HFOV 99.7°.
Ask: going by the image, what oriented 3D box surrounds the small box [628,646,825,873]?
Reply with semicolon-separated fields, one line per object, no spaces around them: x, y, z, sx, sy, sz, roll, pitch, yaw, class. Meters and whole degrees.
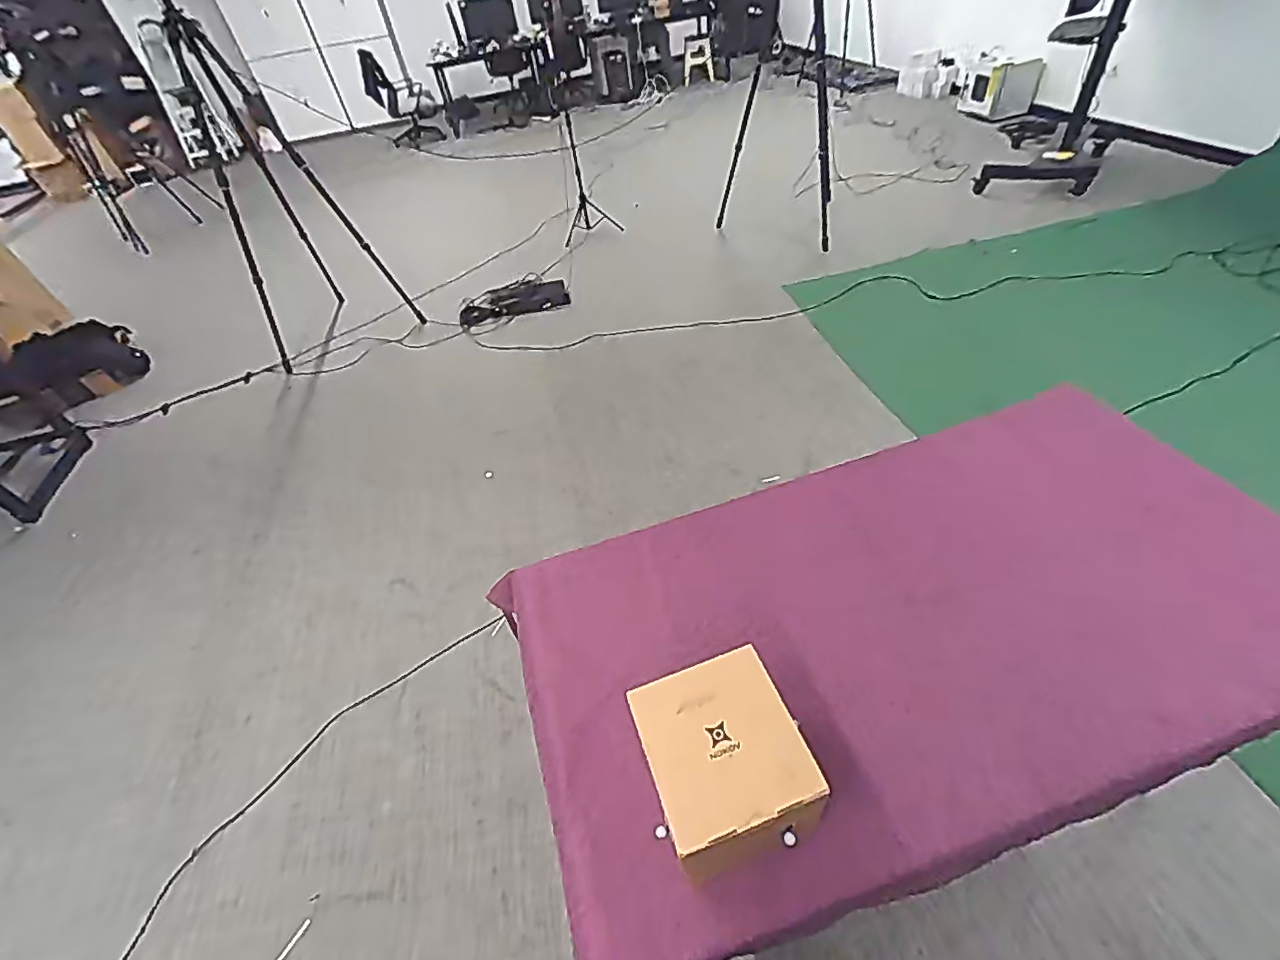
0.097;0.338;0.646;0.168;0.176;0.179;-18;45;-9;small box
